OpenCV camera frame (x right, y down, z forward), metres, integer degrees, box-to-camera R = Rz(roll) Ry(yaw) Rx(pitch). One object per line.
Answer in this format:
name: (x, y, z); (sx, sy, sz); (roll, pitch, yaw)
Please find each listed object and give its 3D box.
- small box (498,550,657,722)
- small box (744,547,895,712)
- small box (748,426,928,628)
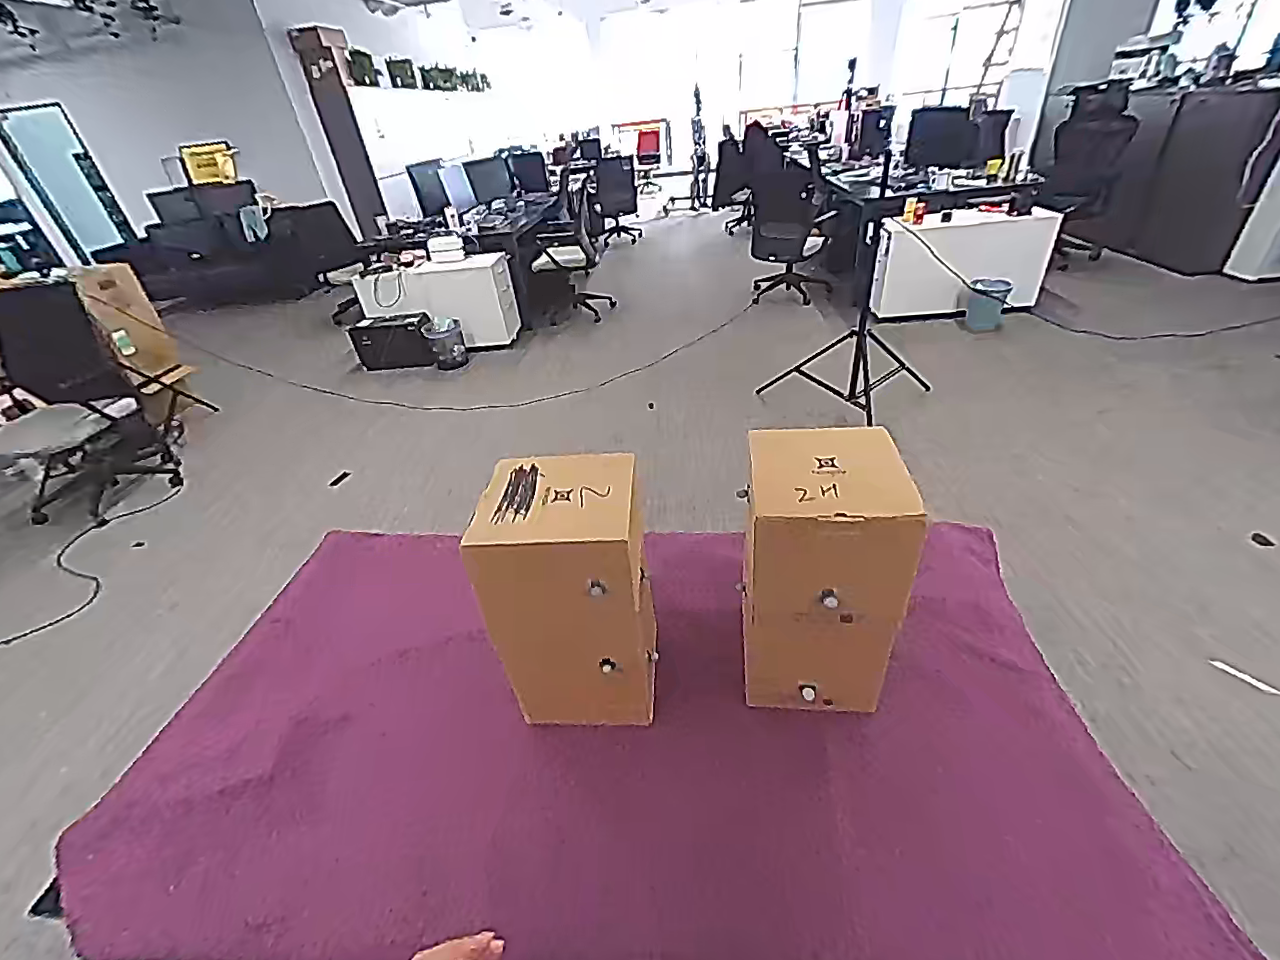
small box: (-0.073, 0.215, 0.750); (0.179, 0.176, 0.168); (-2, 34, 6)
small box: (0.228, 0.186, 0.738); (0.168, 0.176, 0.179); (-1, 36, 9)
small box: (0.215, 0.051, 0.643); (0.168, 0.176, 0.179); (-1, 35, 9)
